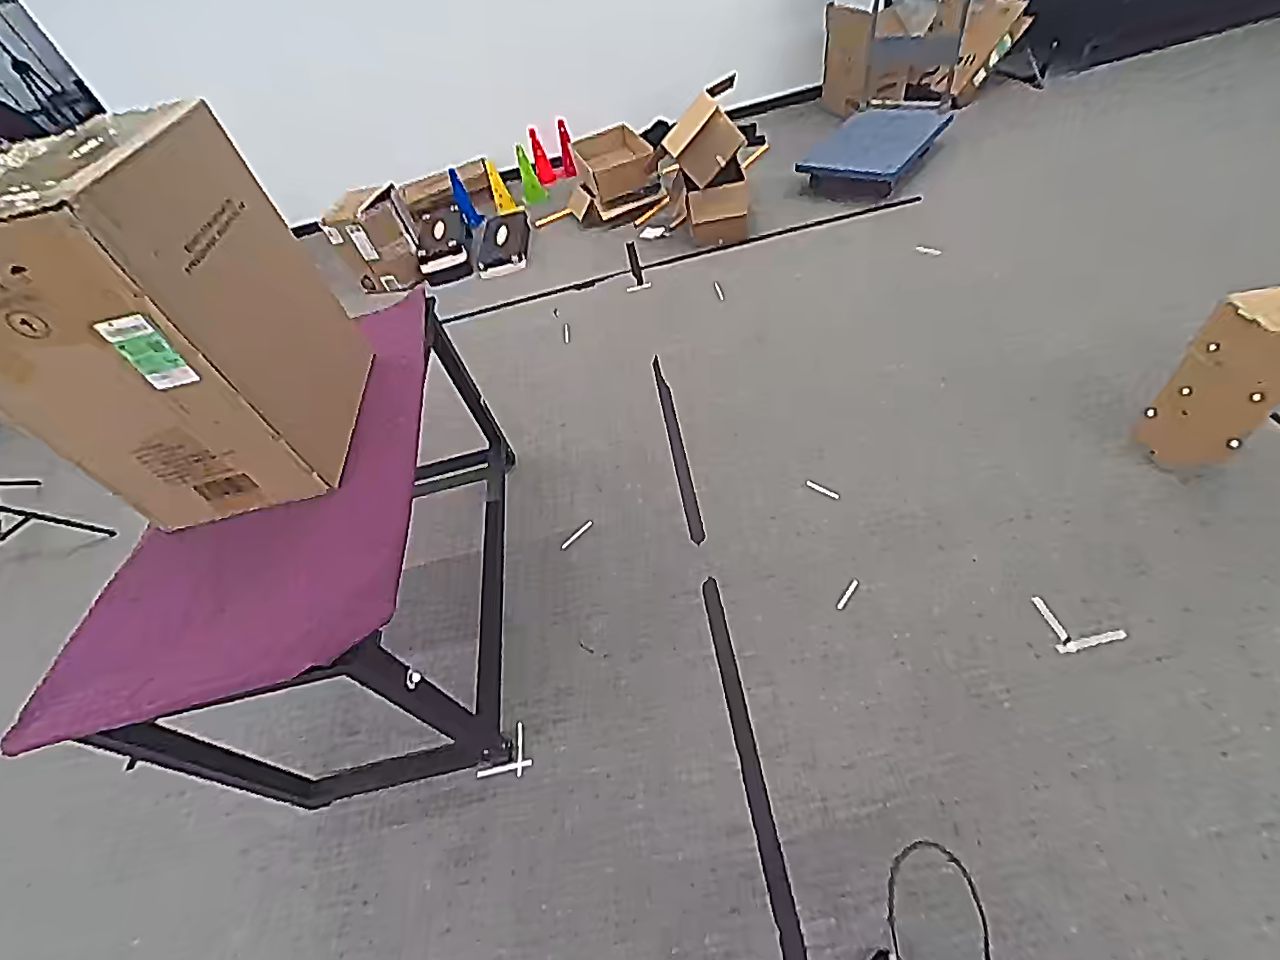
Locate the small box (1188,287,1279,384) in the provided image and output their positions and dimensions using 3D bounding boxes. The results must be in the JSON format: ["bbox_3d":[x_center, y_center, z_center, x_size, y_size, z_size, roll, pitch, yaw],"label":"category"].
[{"bbox_3d":[1.589,-0.367,1.384,0.179,0.176,0.168,-8,48,8],"label":"small box"}]

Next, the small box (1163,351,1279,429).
[{"bbox_3d":[1.618,-0.258,1.500,0.179,0.176,0.168,-8,49,7],"label":"small box"}]
